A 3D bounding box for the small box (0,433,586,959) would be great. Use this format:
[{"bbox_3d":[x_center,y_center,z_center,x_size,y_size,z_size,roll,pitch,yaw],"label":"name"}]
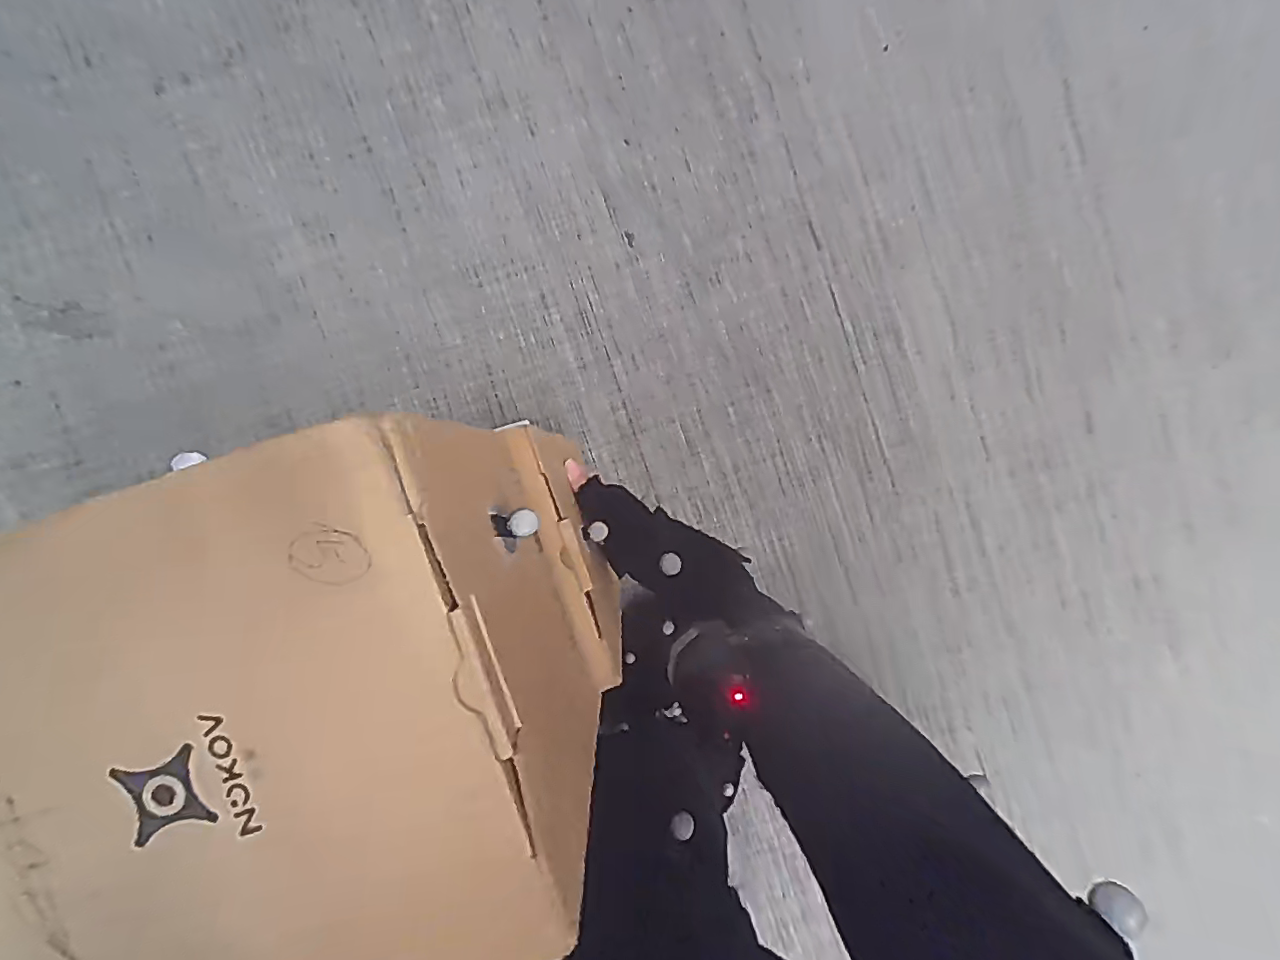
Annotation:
[{"bbox_3d":[-0.129,0.085,0.231,0.179,0.176,0.168,-20,92,1],"label":"small box"}]
